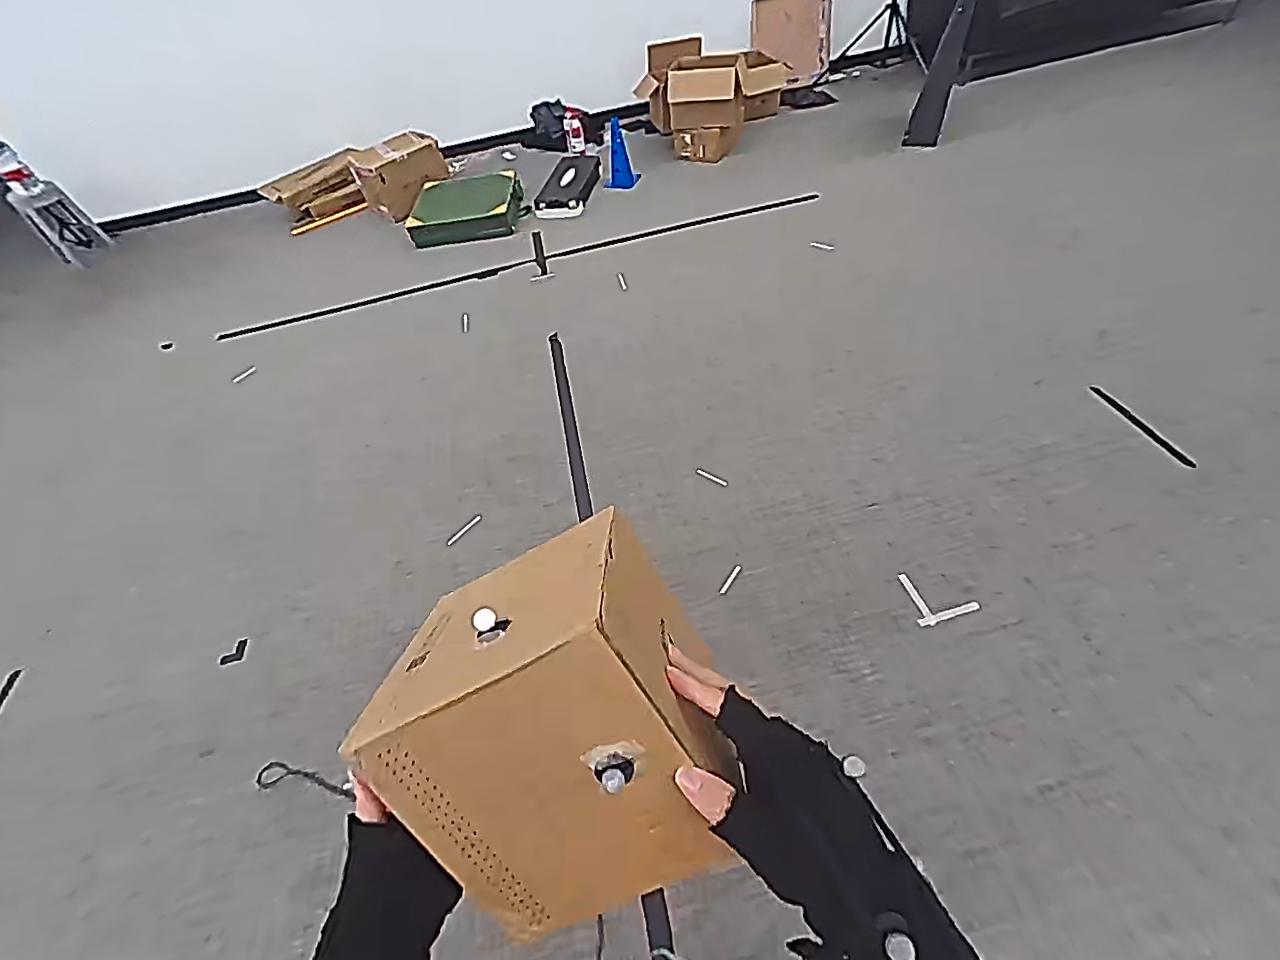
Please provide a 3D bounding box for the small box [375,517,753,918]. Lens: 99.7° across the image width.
[{"bbox_3d":[-0.046,0.161,0.389,0.176,0.179,0.168,-29,16,10],"label":"small box"}]
